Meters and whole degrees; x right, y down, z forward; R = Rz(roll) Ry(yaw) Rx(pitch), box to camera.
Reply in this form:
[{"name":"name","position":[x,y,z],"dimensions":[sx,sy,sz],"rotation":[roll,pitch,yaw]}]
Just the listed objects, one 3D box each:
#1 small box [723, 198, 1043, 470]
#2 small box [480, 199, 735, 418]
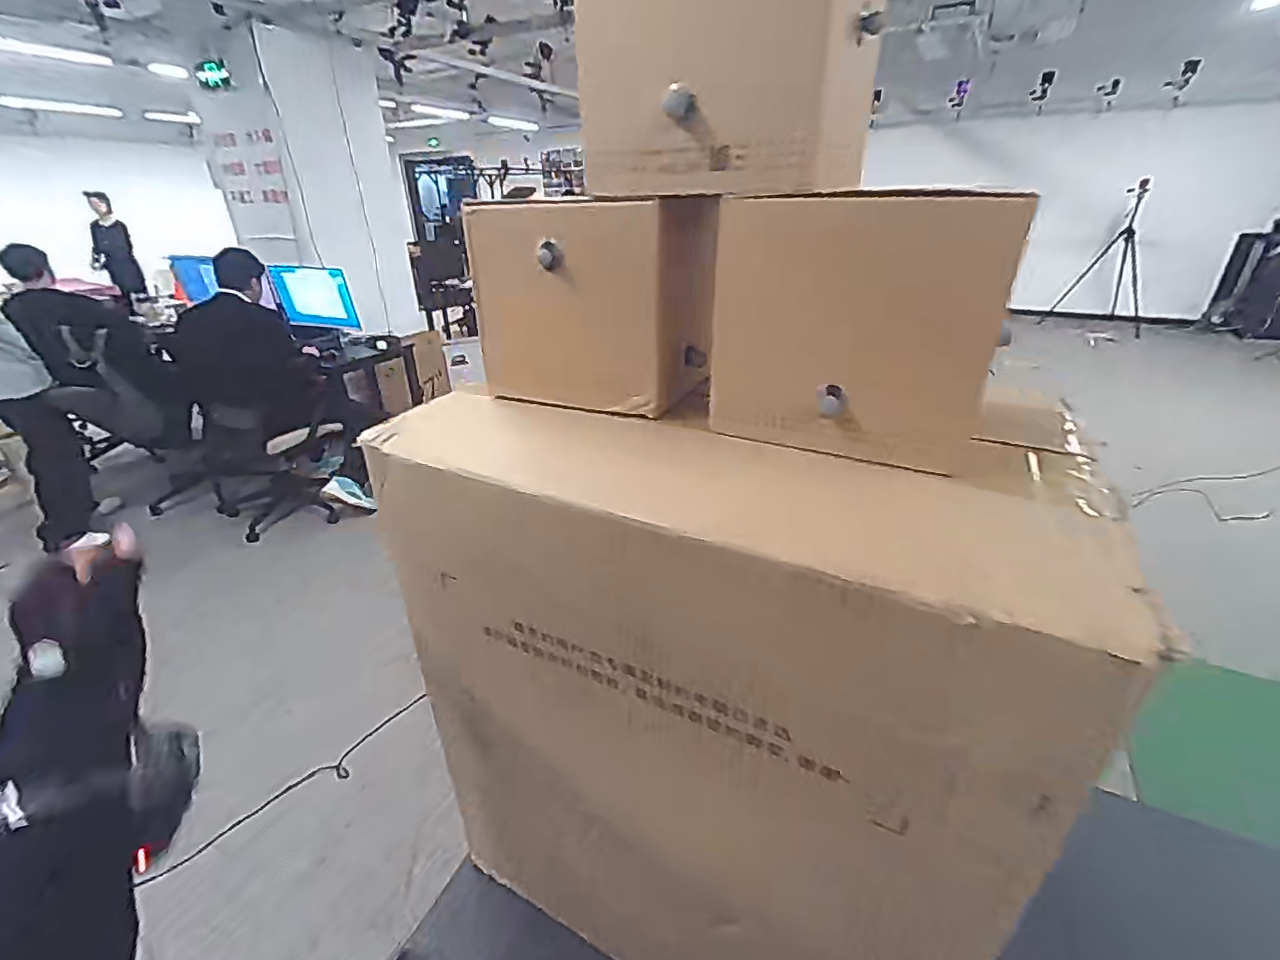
[{"name":"small box","position":[0.175,-0.121,0.421],"dimensions":[0.179,0.176,0.168],"rotation":[12,30,25]},{"name":"small box","position":[-0.022,-0.167,0.511],"dimensions":[0.179,0.176,0.168],"rotation":[12,30,22]}]
